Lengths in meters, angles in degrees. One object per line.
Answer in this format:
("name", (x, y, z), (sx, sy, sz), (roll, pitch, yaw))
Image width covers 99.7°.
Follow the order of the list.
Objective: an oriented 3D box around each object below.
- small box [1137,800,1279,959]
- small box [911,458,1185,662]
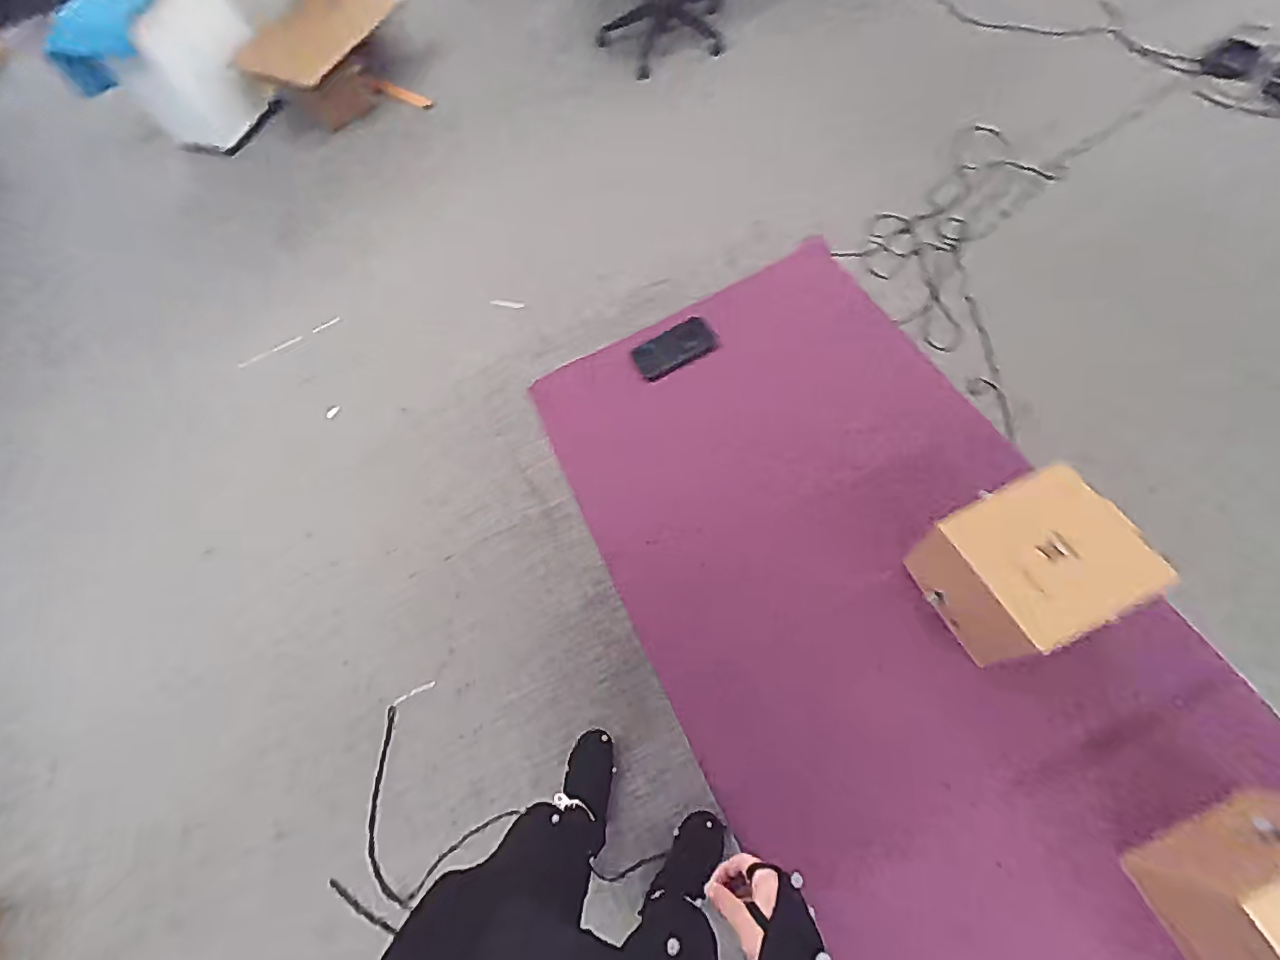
("small box", (0.634, 0.419, 0.494), (0.179, 0.176, 0.168), (-26, 63, -2))
("small box", (0.473, 0.106, 0.665), (0.179, 0.176, 0.168), (-27, 63, -1))
